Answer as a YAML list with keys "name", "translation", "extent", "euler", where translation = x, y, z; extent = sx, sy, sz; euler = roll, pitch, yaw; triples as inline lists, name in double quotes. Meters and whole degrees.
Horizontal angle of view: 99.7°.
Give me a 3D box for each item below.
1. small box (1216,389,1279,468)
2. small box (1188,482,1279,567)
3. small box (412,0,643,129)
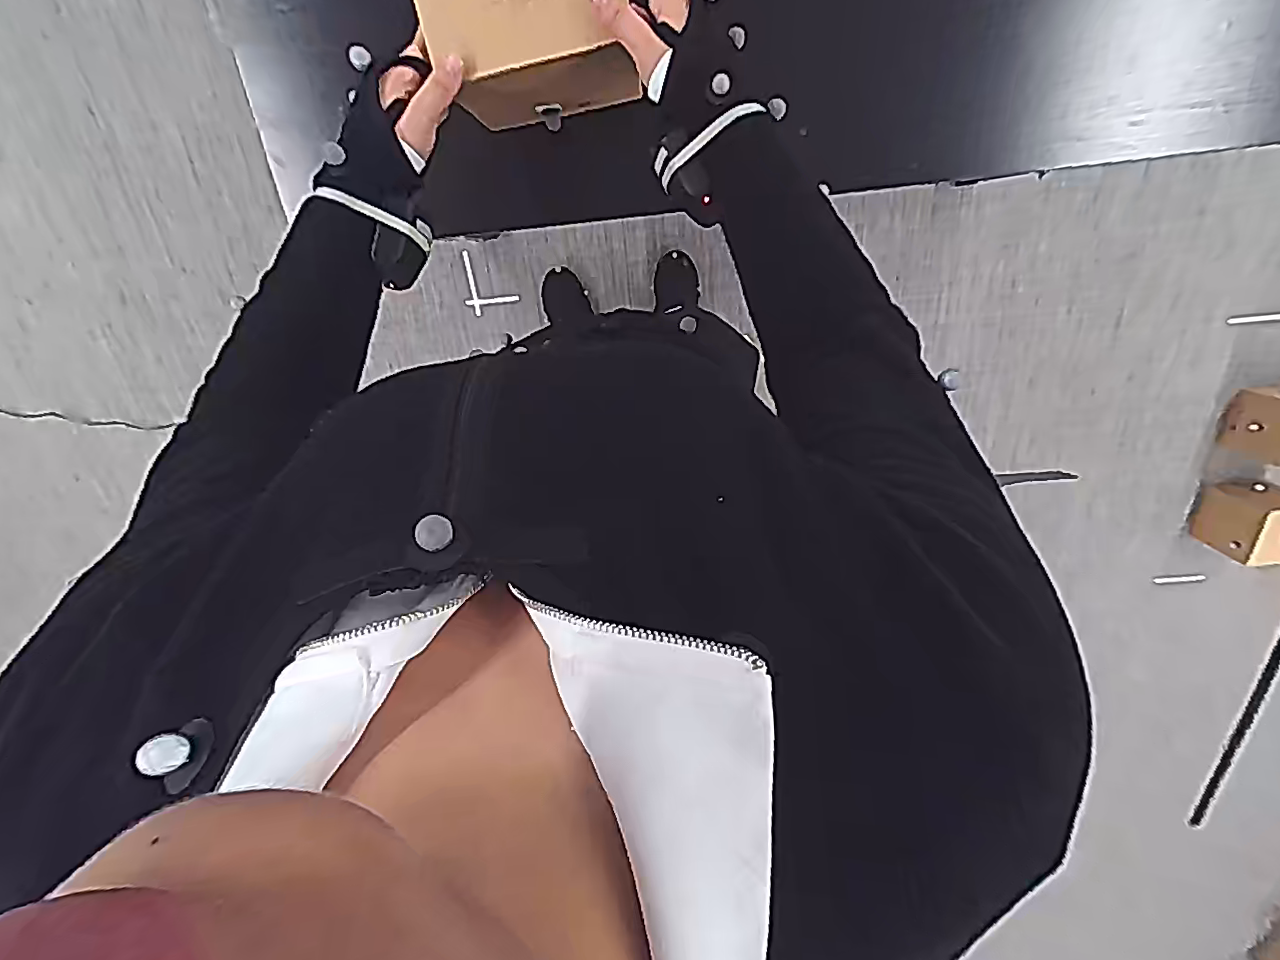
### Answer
- name: "small box"
  translation: [1.693, -0.137, 1.414]
  extent: [0.179, 0.176, 0.168]
  euler: [-2, 114, 2]
- name: "small box"
  translation: [1.726, 0.123, 1.529]
  extent: [0.168, 0.176, 0.179]
  euler: [-6, 114, 2]
- name: "small box"
  translation: [-0.095, -0.433, 0.461]
  extent: [0.168, 0.176, 0.179]
  euler: [-10, 112, 7]
